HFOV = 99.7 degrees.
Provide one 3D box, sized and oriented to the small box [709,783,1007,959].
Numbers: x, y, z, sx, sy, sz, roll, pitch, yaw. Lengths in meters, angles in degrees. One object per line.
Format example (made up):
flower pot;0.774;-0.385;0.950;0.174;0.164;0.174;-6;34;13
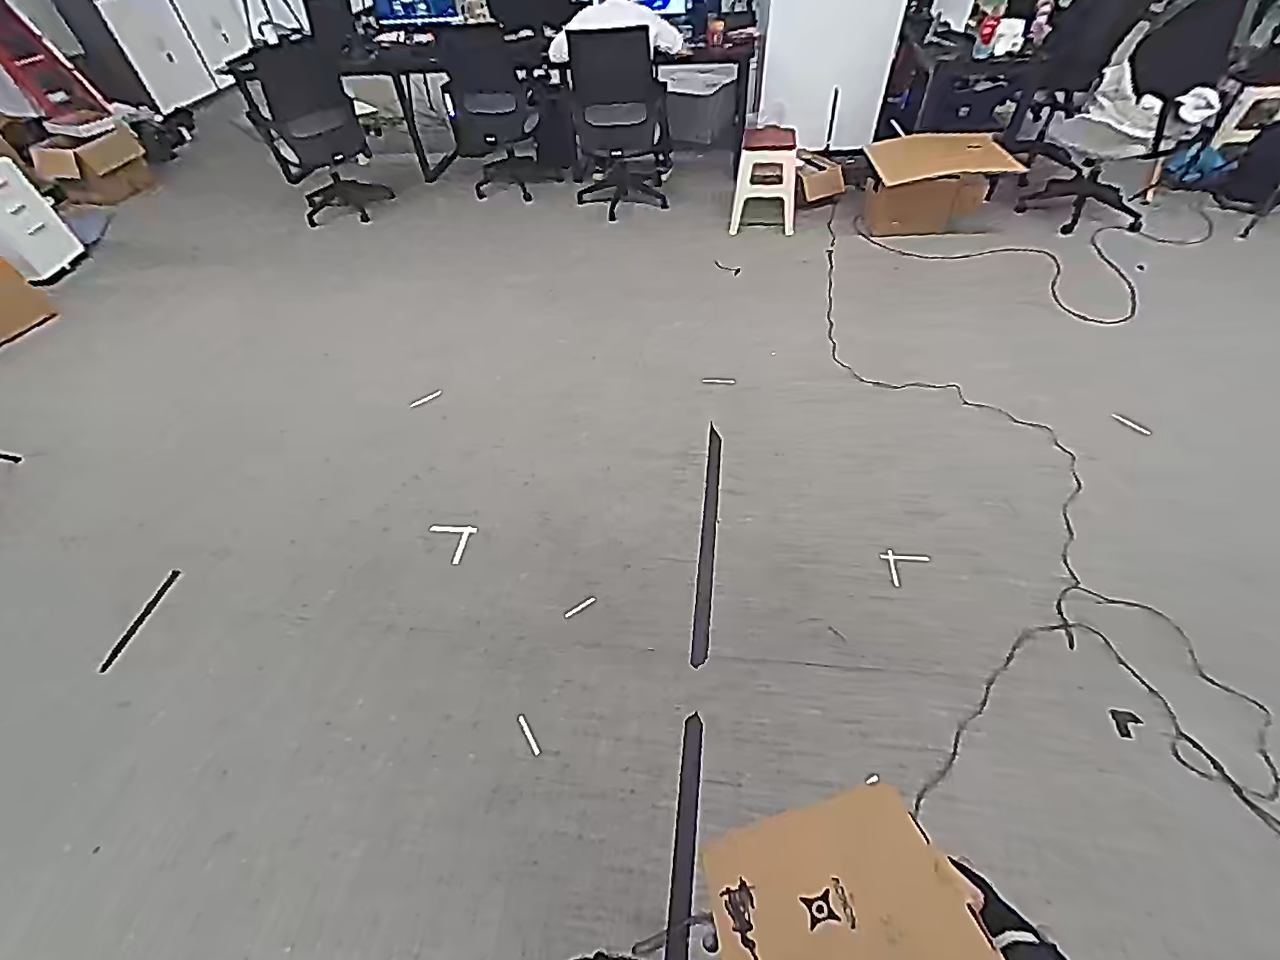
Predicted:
small box;0.172;0.387;0.421;0.179;0.176;0.168;-20;15;2
